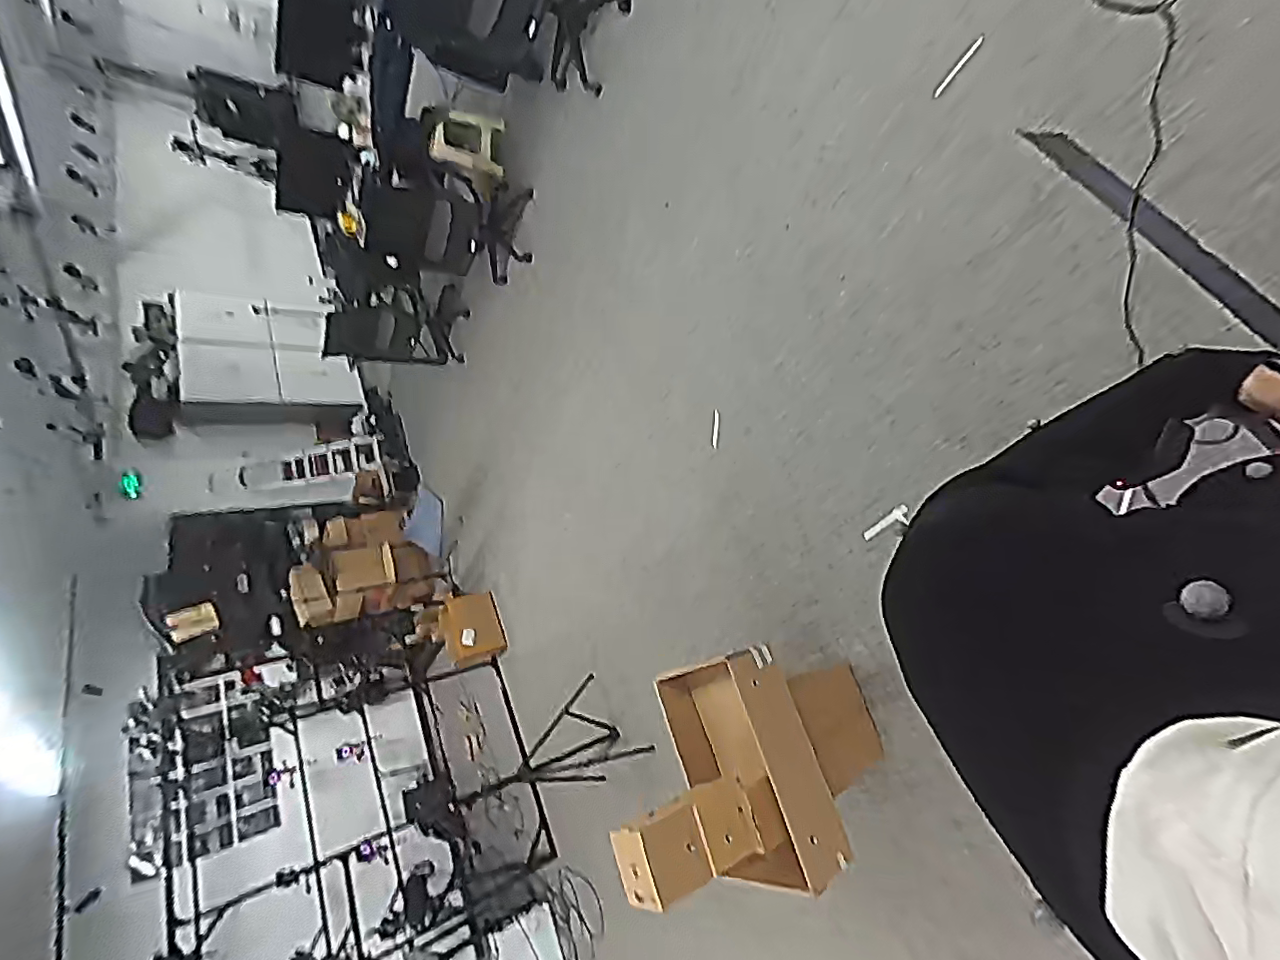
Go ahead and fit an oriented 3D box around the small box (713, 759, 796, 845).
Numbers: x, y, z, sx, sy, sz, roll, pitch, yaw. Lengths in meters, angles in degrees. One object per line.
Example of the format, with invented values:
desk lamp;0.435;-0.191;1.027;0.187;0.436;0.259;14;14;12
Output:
small box;0.332;0.933;1.584;0.179;0.176;0.168;-36;65;50

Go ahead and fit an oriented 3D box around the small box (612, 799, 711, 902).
small box;0.056;0.953;1.410;0.168;0.176;0.179;-43;59;48

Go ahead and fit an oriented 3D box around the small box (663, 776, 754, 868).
small box;0.193;0.938;1.499;0.179;0.176;0.168;-41;61;48
